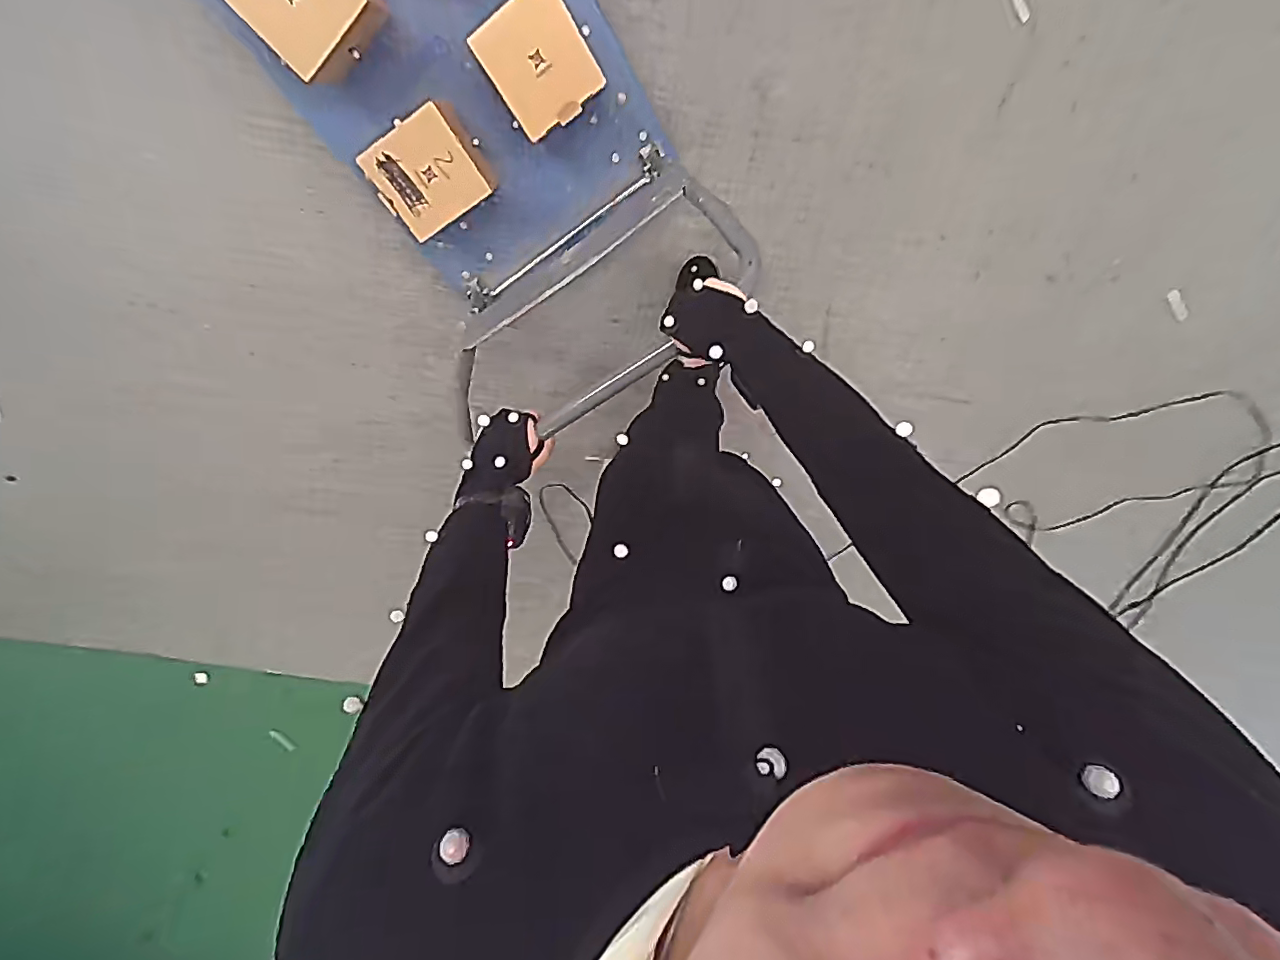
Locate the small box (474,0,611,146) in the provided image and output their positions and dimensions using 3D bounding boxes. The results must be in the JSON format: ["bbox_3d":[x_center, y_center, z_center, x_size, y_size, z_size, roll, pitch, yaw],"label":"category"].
[{"bbox_3d":[-0.174,-0.743,0.978,0.168,0.176,0.179,-31,125,13],"label":"small box"}]

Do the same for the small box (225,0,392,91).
[{"bbox_3d":[-0.541,-0.784,0.888,0.168,0.176,0.179,-37,122,16],"label":"small box"}]
